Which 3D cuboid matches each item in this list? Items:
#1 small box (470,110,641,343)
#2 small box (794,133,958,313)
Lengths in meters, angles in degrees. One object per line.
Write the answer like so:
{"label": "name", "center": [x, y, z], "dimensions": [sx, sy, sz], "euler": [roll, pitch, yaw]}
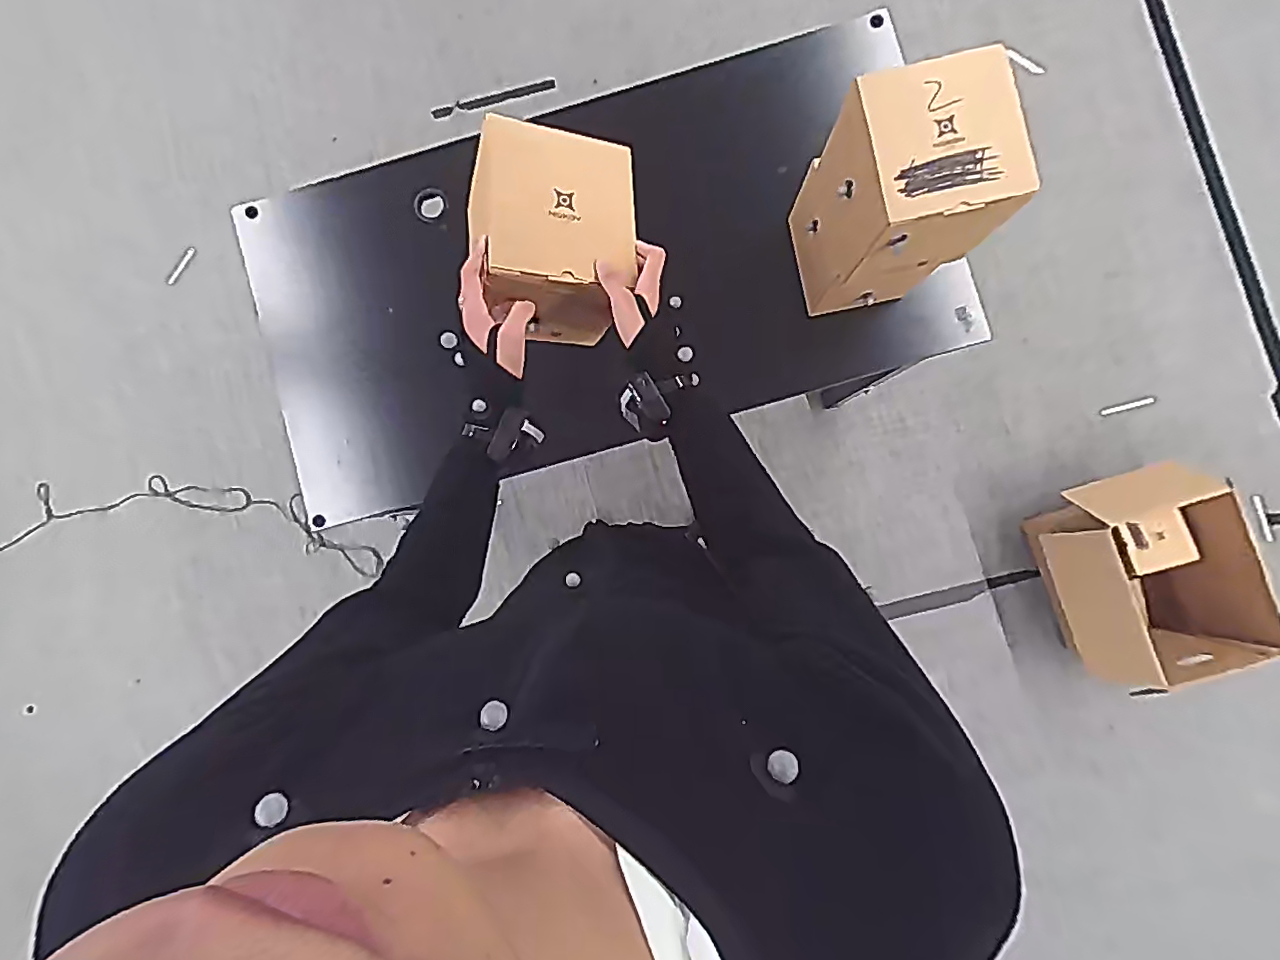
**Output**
{"label": "small box", "center": [-0.109, -0.284, 0.647], "dimensions": [0.168, 0.176, 0.179], "euler": [-1, 83, -23]}
{"label": "small box", "center": [0.346, -0.379, 0.827], "dimensions": [0.168, 0.176, 0.179], "euler": [-11, 88, 3]}
